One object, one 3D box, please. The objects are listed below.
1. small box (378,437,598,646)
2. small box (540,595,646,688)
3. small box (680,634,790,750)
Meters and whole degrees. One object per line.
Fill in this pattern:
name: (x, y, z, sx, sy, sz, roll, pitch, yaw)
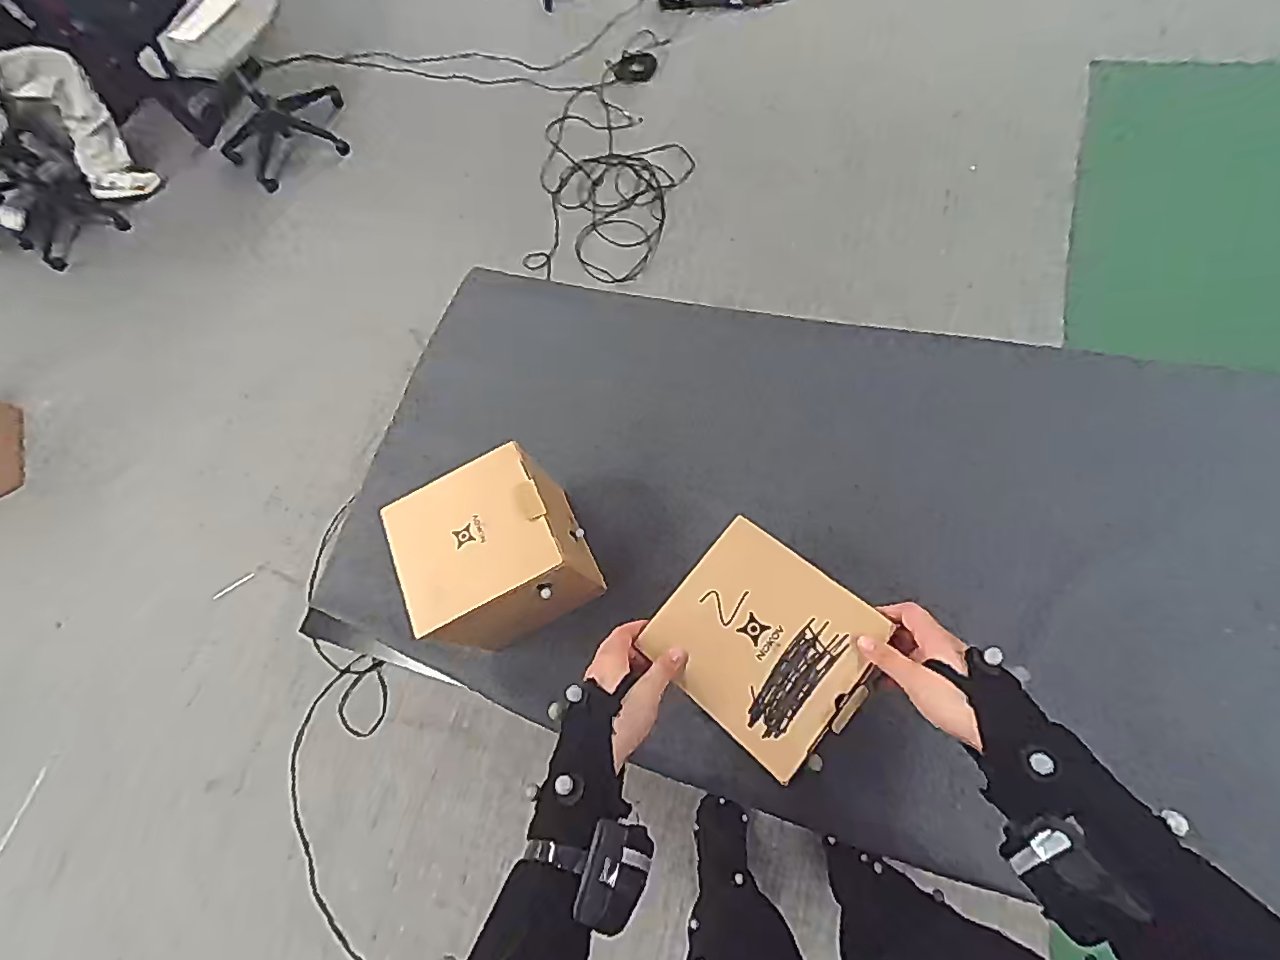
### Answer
small box: (-0.174, 0.085, 0.654, 0.179, 0.176, 0.168, -28, 65, 0)
small box: (-0.107, 0.393, 1.314, 0.179, 0.176, 0.168, 24, 74, 21)
small box: (0.216, 0.471, 1.211, 0.179, 0.176, 0.168, 32, 77, 24)
